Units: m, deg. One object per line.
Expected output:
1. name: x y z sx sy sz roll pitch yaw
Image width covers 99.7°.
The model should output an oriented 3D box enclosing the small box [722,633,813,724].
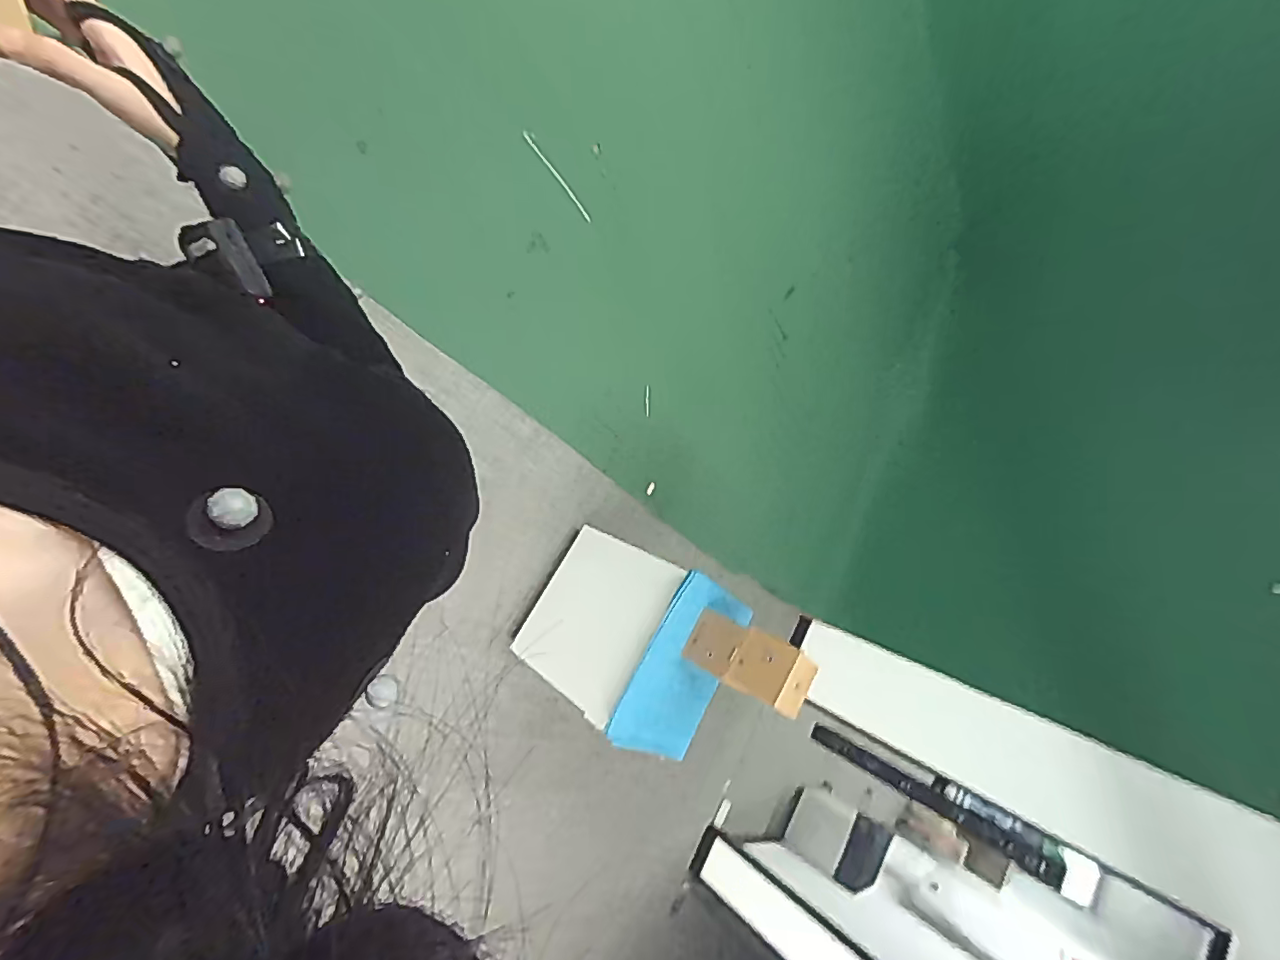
1. small box: 0.358 0.557 1.534 0.168 0.176 0.179 -58 136 -13

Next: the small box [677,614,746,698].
1. small box: 0.241 0.529 1.643 0.179 0.176 0.168 43 73 -44
